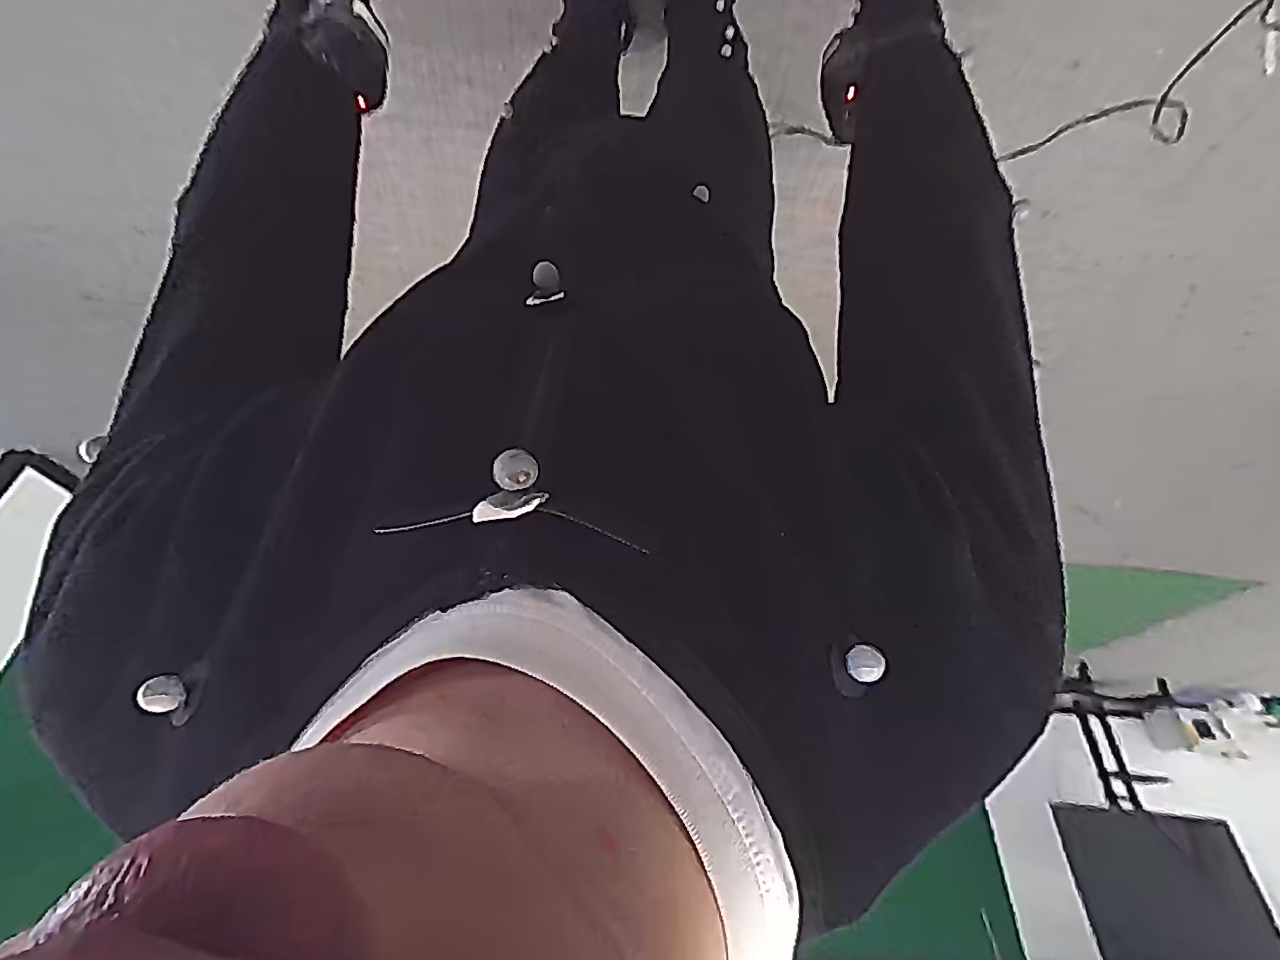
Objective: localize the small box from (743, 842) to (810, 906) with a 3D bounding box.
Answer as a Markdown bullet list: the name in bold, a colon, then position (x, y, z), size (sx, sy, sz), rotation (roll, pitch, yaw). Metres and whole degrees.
- **small box**: position (0.465, 1.357, 1.869), size (0.179, 0.176, 0.168), rotation (7, 143, -5)
